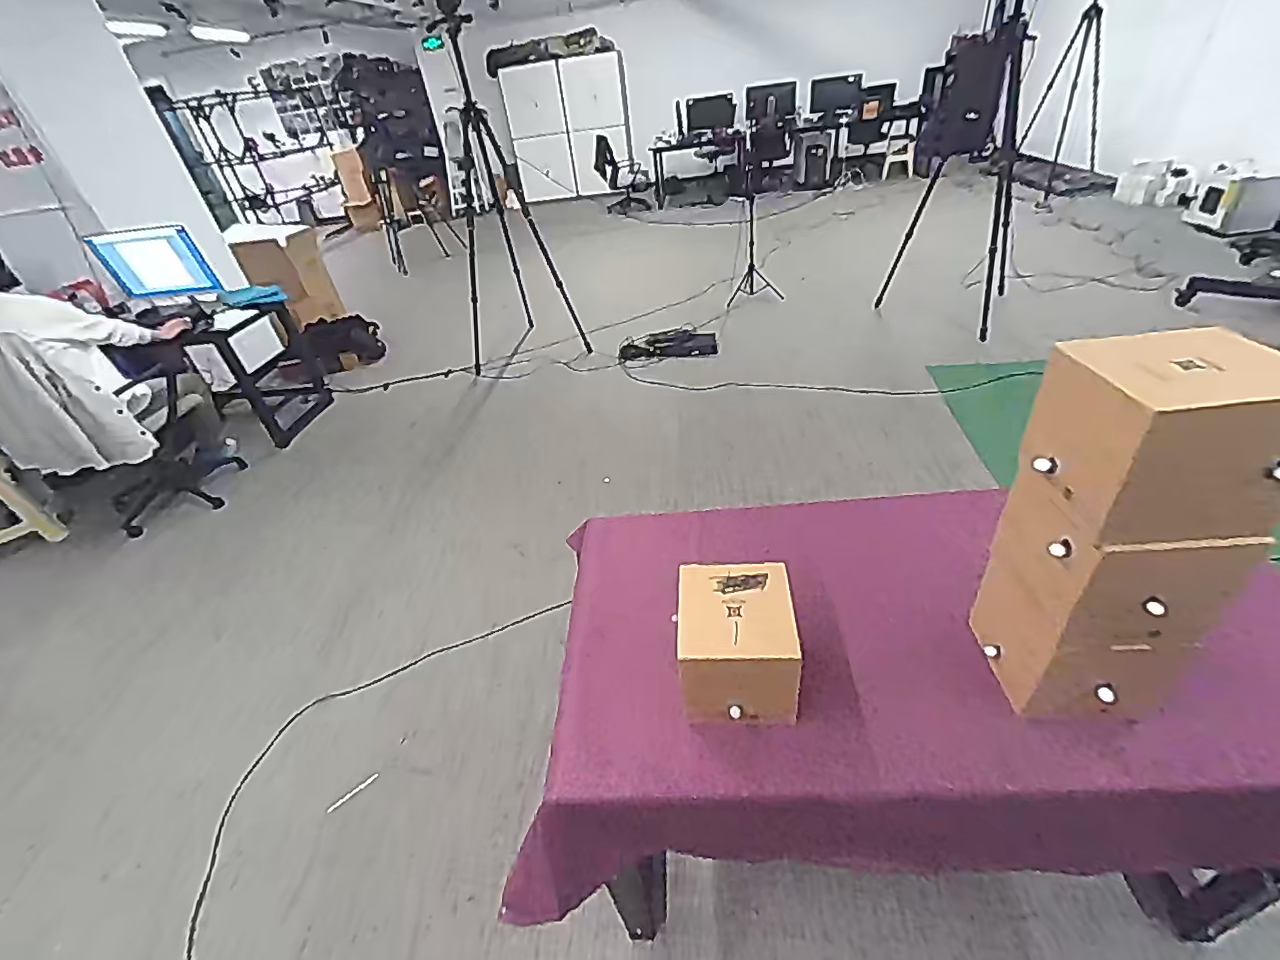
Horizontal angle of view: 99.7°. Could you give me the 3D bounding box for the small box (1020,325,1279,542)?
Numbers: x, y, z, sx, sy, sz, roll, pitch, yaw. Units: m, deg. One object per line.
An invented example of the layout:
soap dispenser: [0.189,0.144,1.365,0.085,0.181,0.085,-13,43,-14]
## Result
small box: [0.562,-0.050,0.587,0.179,0.176,0.168,-5,36,7]

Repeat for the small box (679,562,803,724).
small box: [0.148,0.247,0.829,0.168,0.176,0.179,-3,38,8]

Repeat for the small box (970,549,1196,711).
small box: [0.611,0.214,0.777,0.168,0.176,0.179,-4,38,7]

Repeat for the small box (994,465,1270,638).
small box: [0.586,0.083,0.679,0.168,0.176,0.179,-4,37,6]
